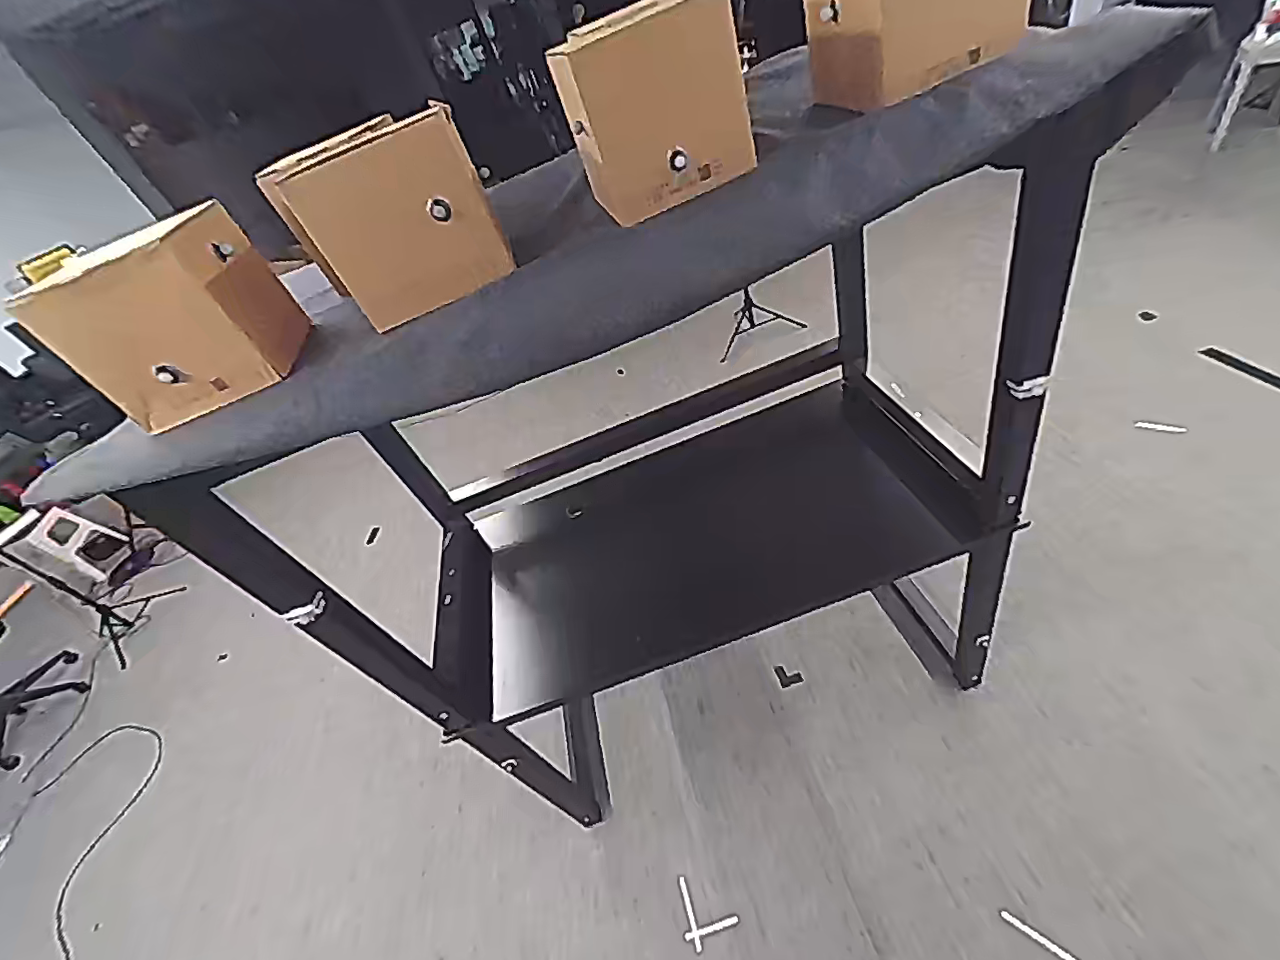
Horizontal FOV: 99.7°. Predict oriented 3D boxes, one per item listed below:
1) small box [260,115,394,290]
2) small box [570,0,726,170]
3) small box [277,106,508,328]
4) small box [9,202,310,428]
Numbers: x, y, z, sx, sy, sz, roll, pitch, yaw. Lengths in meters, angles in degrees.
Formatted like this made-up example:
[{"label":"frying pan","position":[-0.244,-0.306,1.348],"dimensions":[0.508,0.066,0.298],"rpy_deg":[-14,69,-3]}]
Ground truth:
[{"label":"small box","position":[-0.404,-0.406,0.802],"dimensions":[0.168,0.176,0.179],"rpy_deg":[-21,40,3]},{"label":"small box","position":[0.010,-0.575,0.782],"dimensions":[0.168,0.176,0.179],"rpy_deg":[-21,40,4]},{"label":"small box","position":[-0.263,-0.304,0.626],"dimensions":[0.179,0.176,0.168],"rpy_deg":[-22,38,-1]},{"label":"small box","position":[-0.522,-0.190,0.627],"dimensions":[0.168,0.176,0.179],"rpy_deg":[-24,41,0]}]
